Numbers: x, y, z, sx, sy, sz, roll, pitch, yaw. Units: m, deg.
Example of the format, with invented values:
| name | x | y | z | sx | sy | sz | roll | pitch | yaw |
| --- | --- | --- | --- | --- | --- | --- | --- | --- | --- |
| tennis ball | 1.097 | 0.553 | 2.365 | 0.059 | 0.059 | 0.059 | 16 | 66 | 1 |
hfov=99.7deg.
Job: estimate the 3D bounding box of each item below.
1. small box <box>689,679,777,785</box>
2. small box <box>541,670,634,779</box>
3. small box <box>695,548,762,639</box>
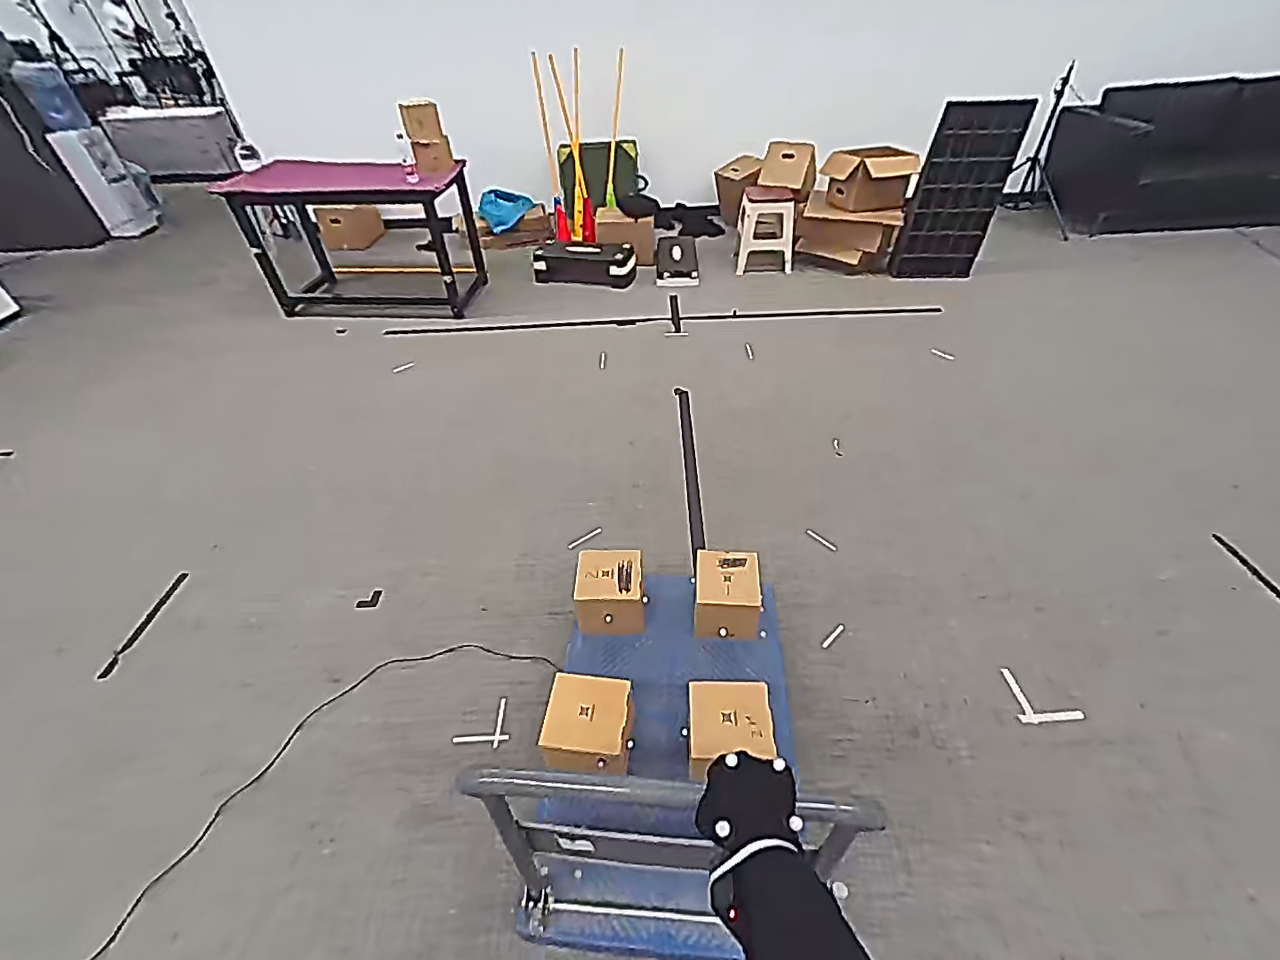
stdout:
| name | x | y | z | sx | sy | sz | roll | pitch | yaw |
| --- | --- | --- | --- | --- | --- | --- | --- | --- | --- |
| small box | 0.198 | 0.562 | 1.205 | 0.179 | 0.176 | 0.168 | 0 | 42 | 3 |
| small box | -0.111 | 0.556 | 1.228 | 0.179 | 0.176 | 0.168 | 4 | 42 | 6 |
| small box | 0.238 | 0.310 | 1.482 | 0.168 | 0.176 | 0.179 | 2 | 44 | 5 |
